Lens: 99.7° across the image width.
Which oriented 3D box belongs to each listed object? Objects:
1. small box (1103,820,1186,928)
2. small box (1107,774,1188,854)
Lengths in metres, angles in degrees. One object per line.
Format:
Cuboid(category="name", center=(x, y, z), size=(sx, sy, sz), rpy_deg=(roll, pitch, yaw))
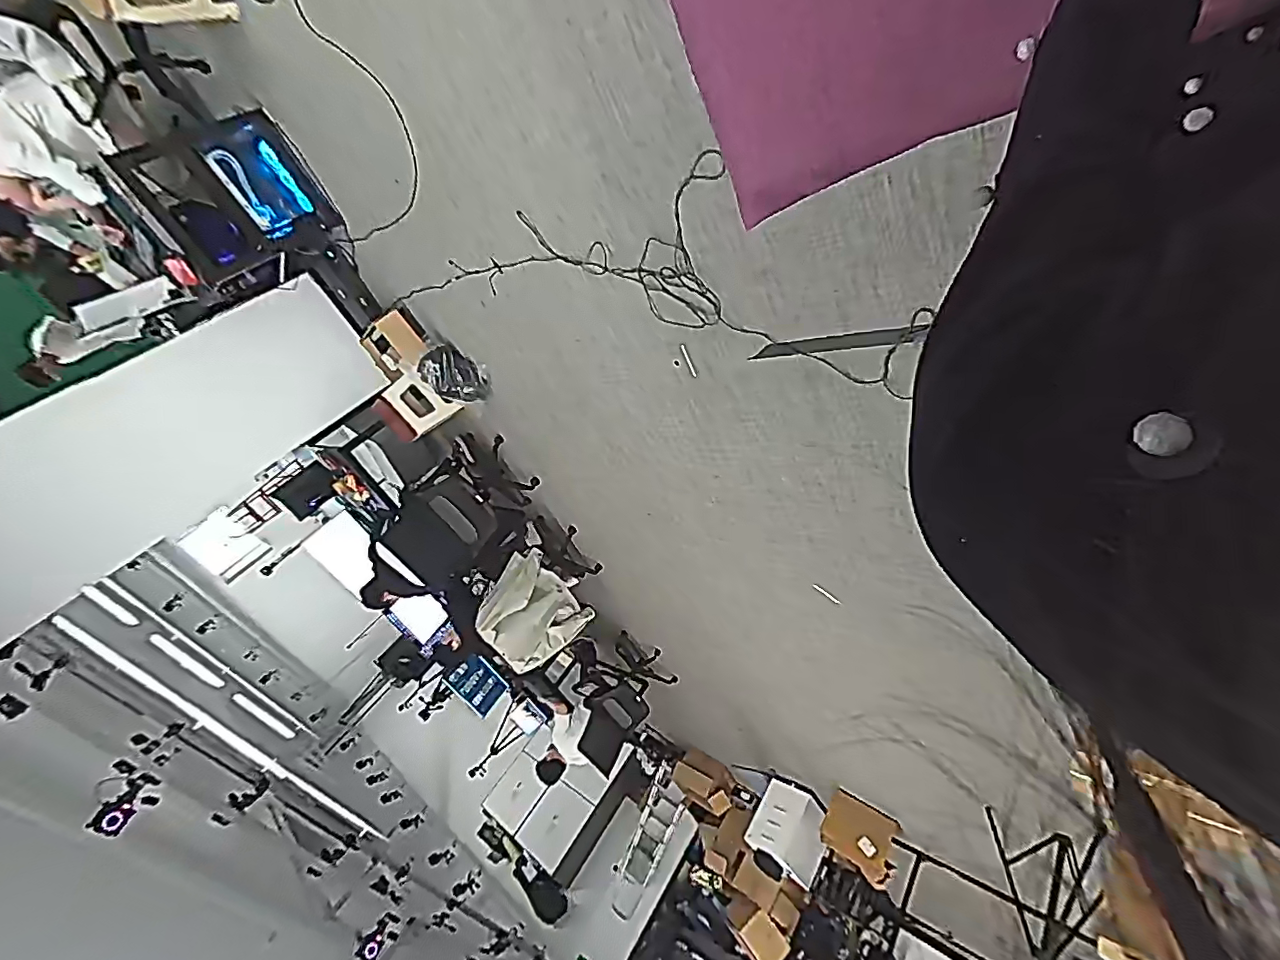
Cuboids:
Cuboid(category="small box", center=(1.495, 1.160, 1.603), size=(0.168, 0.176, 0.179), rpy_deg=(5, 132, 45))
Cuboid(category="small box", center=(1.589, 1.063, 1.693), size=(0.179, 0.176, 0.168), rpy_deg=(5, 132, 47))
